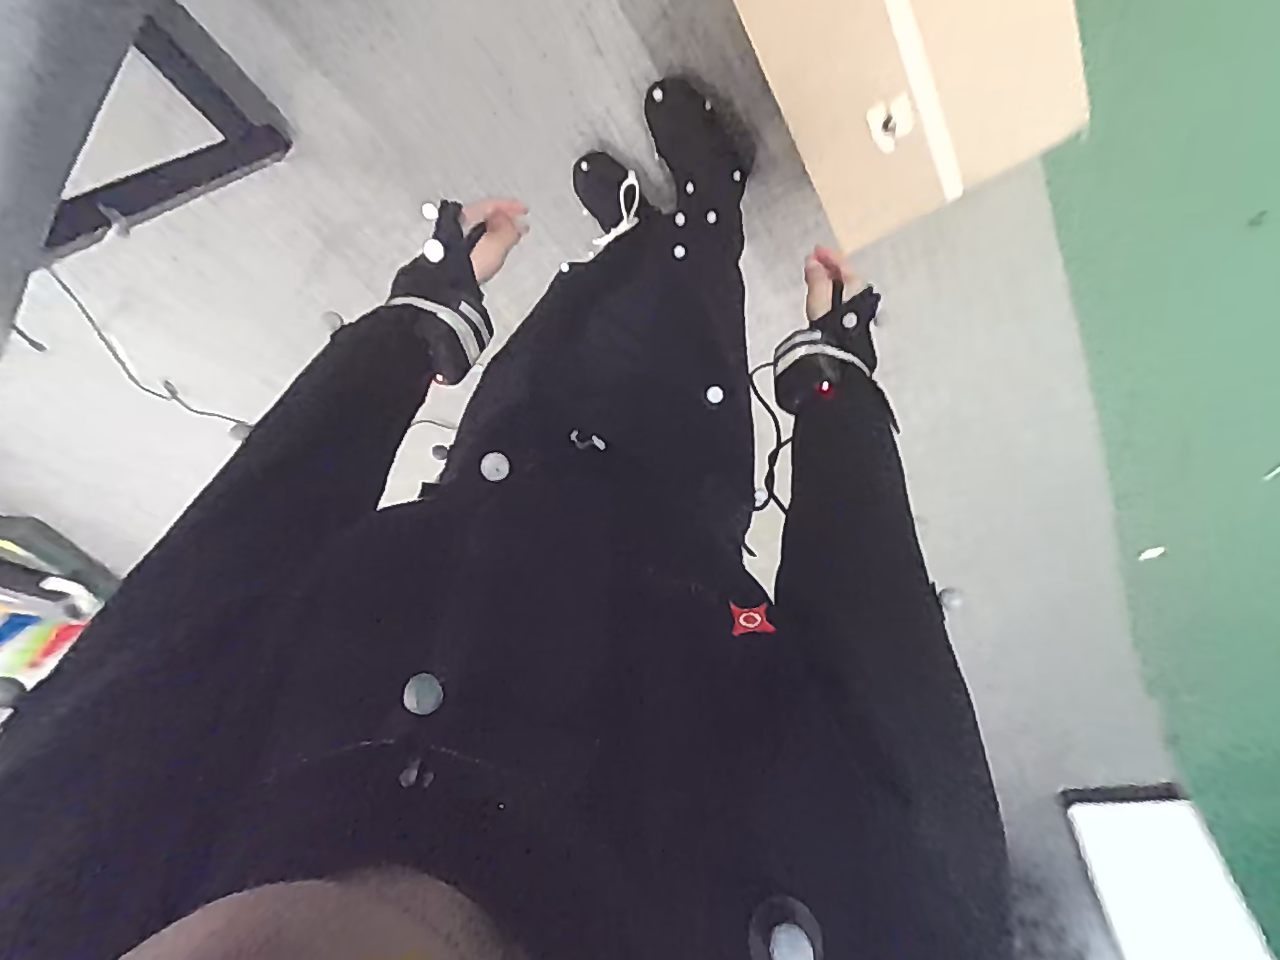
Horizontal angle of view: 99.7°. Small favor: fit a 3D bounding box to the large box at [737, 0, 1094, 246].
[{"bbox_3d":[0.349,-0.632,0.752,0.320,0.320,0.408,-22,126,29],"label":"large box"}]
